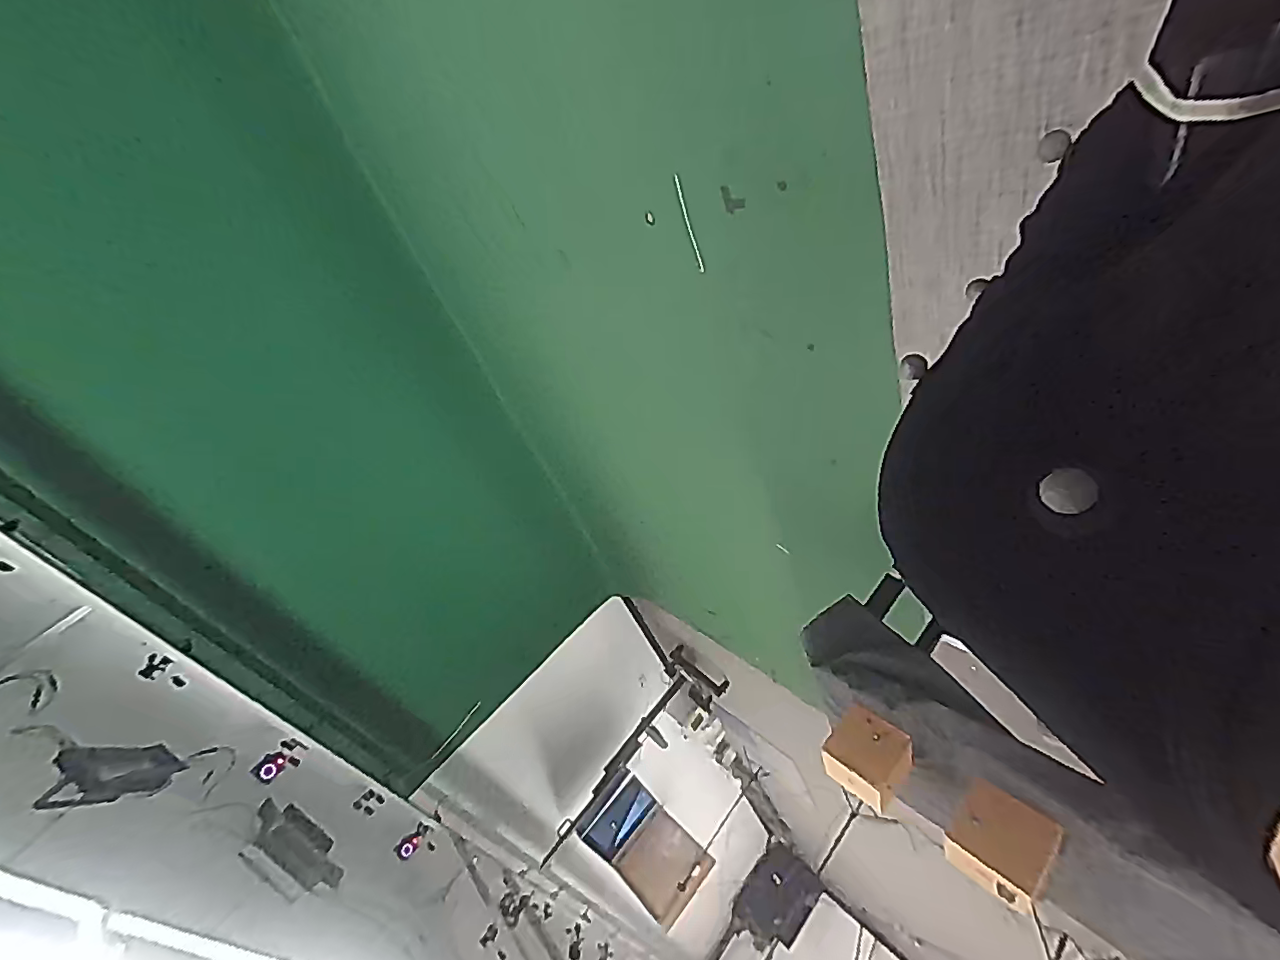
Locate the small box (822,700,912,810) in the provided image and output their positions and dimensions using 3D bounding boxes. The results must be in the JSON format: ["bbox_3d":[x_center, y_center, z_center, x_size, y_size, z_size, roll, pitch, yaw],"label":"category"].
[{"bbox_3d":[0.620,0.741,1.467,0.168,0.176,0.179,24,148,43],"label":"small box"}]
